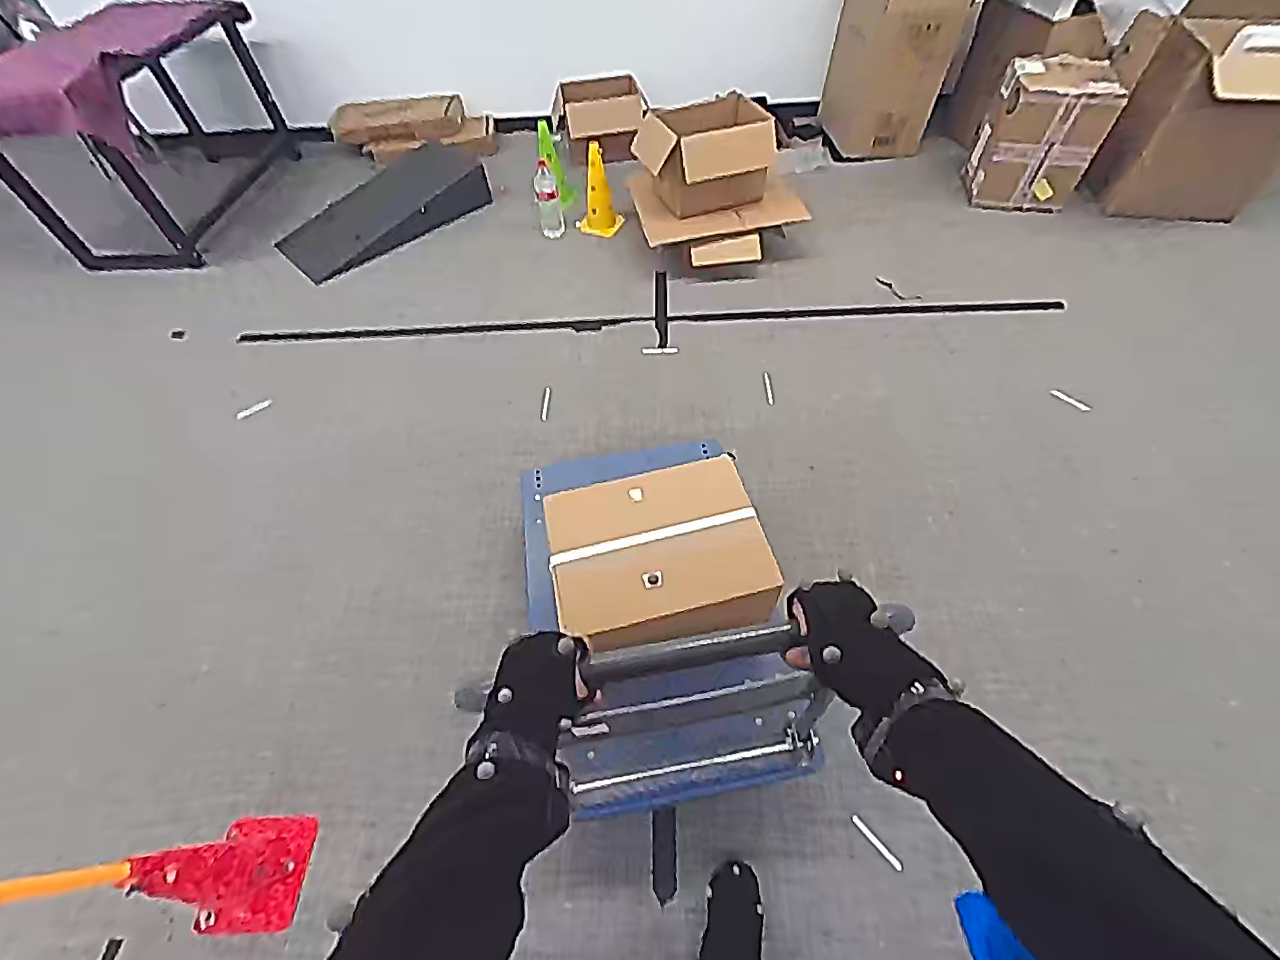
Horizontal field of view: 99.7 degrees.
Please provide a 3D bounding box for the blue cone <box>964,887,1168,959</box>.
[{"bbox_3d":[0.728,0.793,0.889,0.193,0.380,0.192,-4,52,0],"label":"blue cone"}]
